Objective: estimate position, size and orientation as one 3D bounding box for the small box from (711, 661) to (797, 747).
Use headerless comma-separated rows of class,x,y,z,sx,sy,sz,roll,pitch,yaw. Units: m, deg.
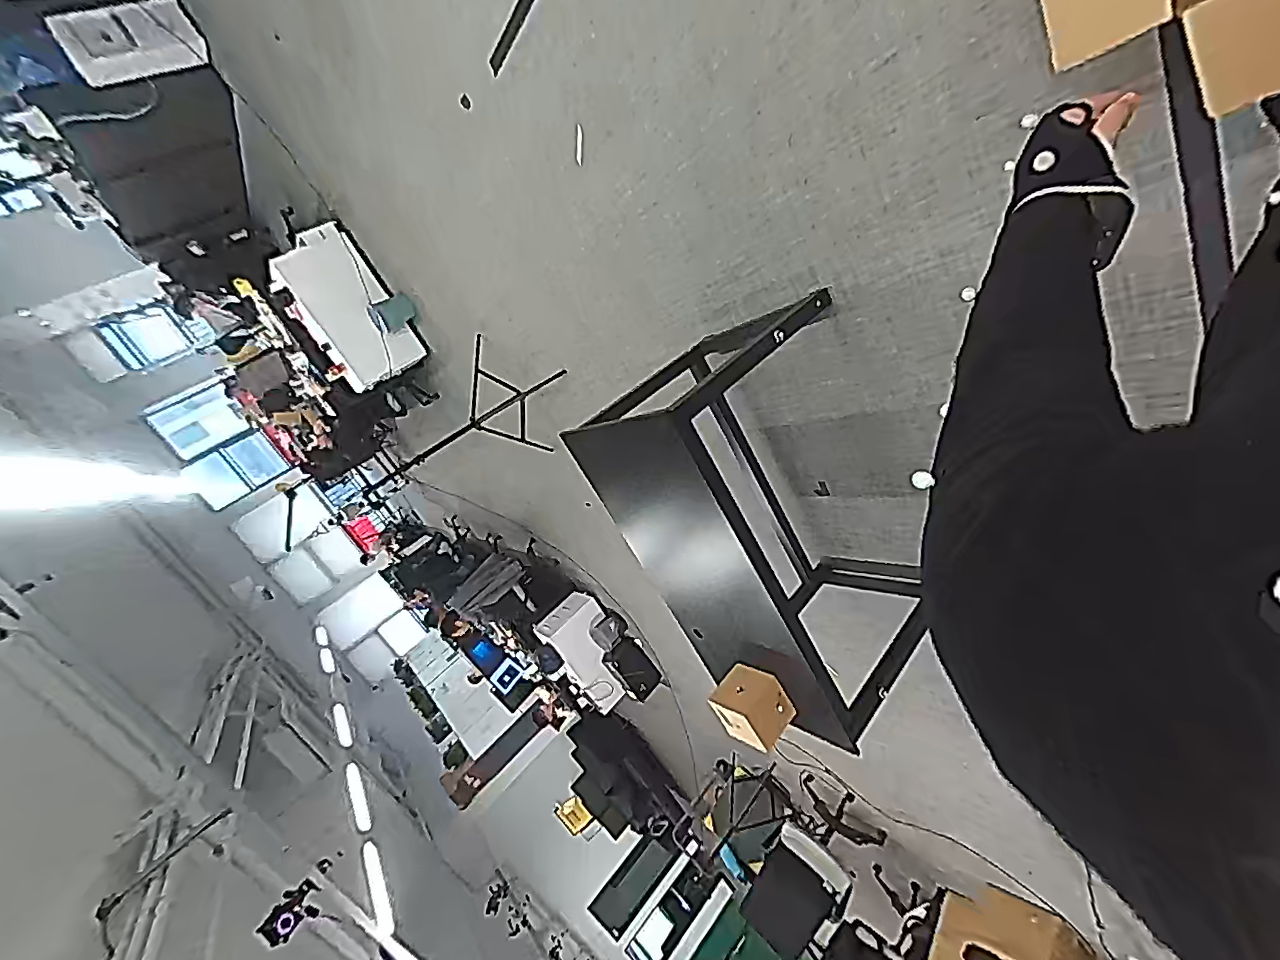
small box,0.372,0.715,1.752,0.179,0.176,0.168,-6,121,58
